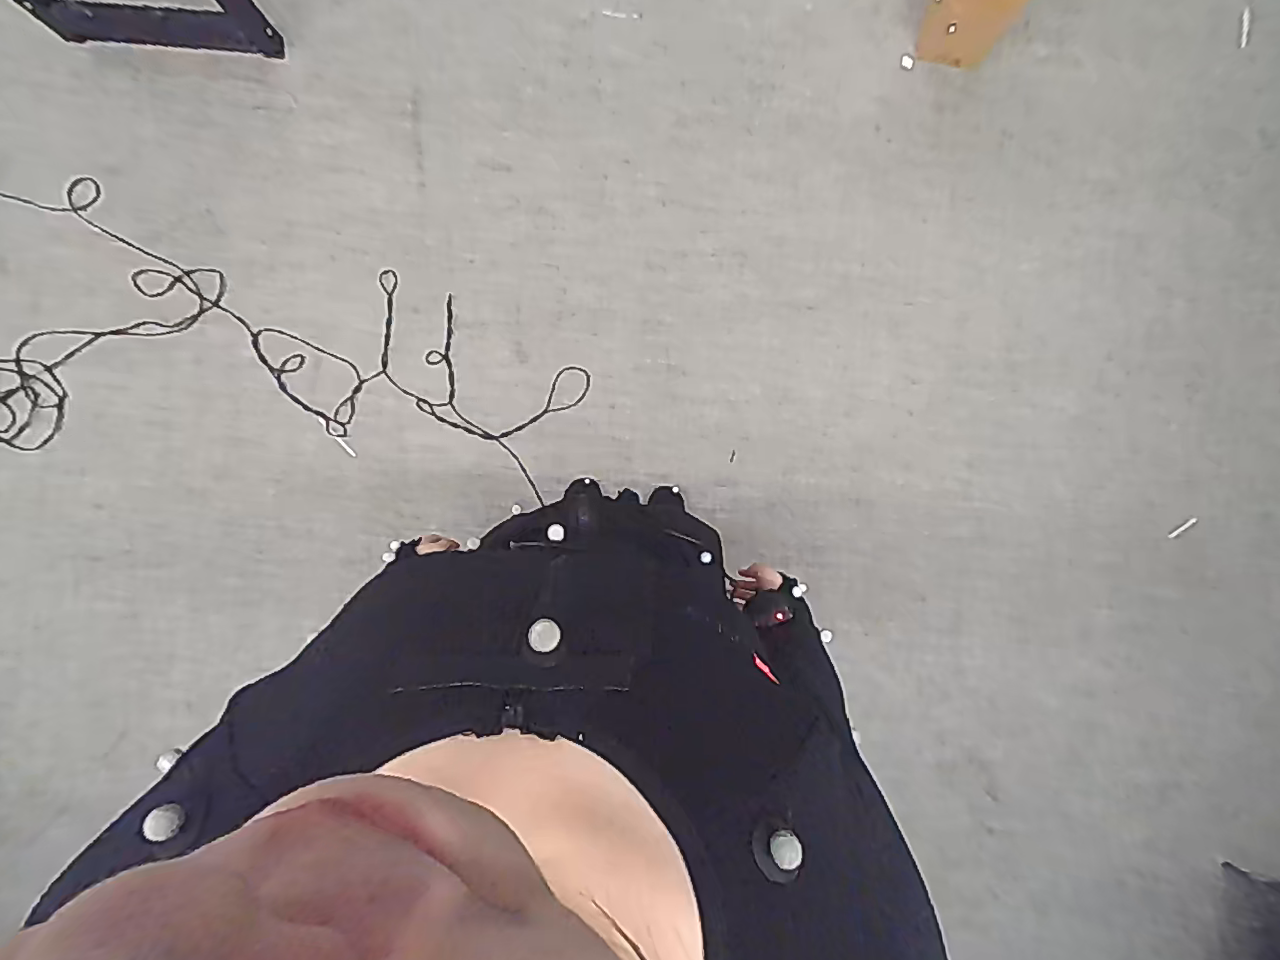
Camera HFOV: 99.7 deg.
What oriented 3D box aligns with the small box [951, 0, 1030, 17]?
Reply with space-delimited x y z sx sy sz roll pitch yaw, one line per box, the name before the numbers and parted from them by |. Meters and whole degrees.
small box | 0.868 -1.235 1.258 0.179 0.176 0.168 12 92 -1
